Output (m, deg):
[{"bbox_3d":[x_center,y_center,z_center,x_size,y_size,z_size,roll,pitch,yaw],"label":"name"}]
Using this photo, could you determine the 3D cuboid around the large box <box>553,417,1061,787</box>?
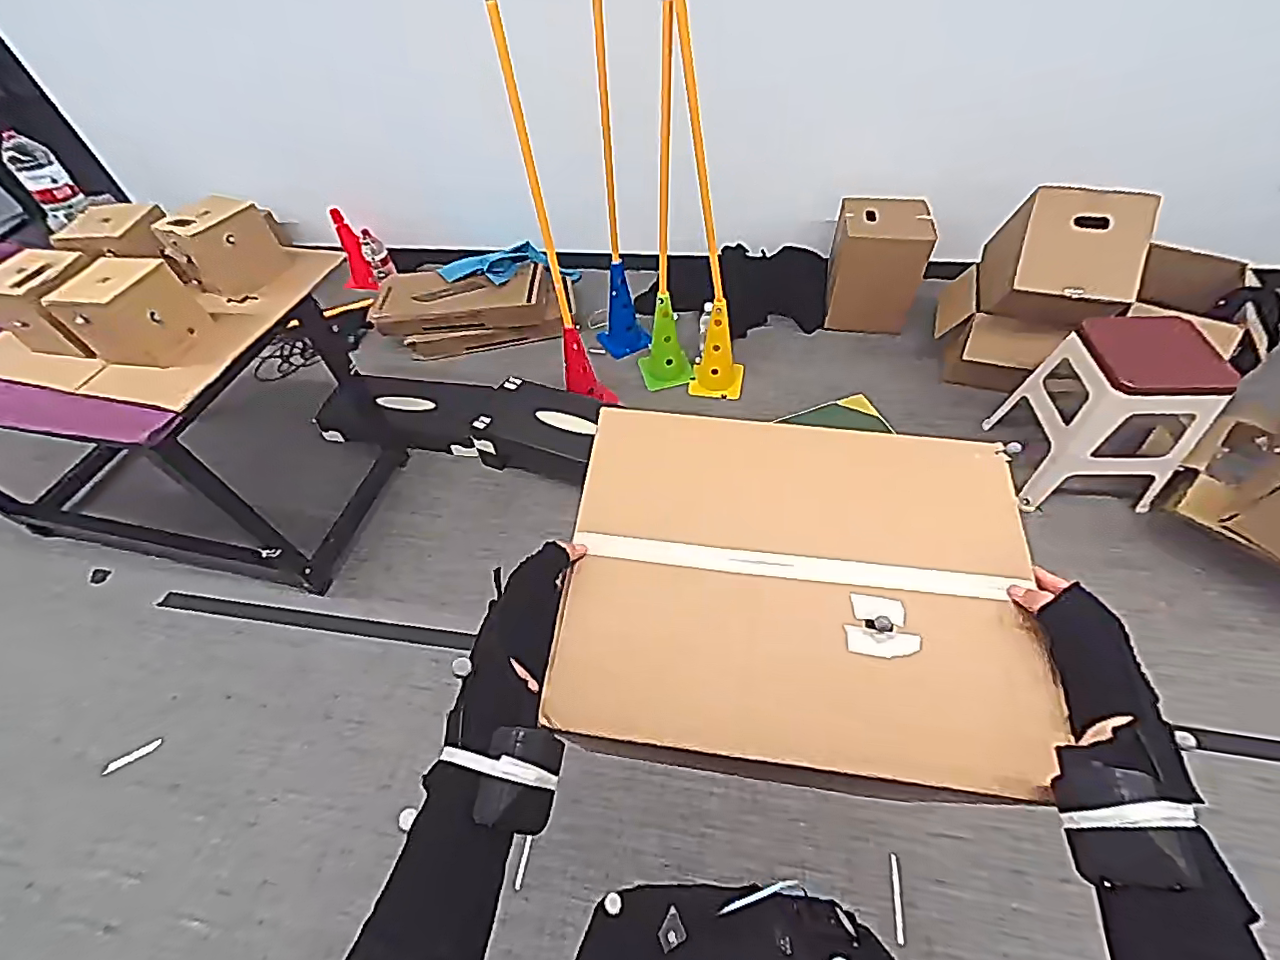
[{"bbox_3d":[0.142,0.154,0.623,0.408,0.320,0.320,6,62,4],"label":"large box"}]
